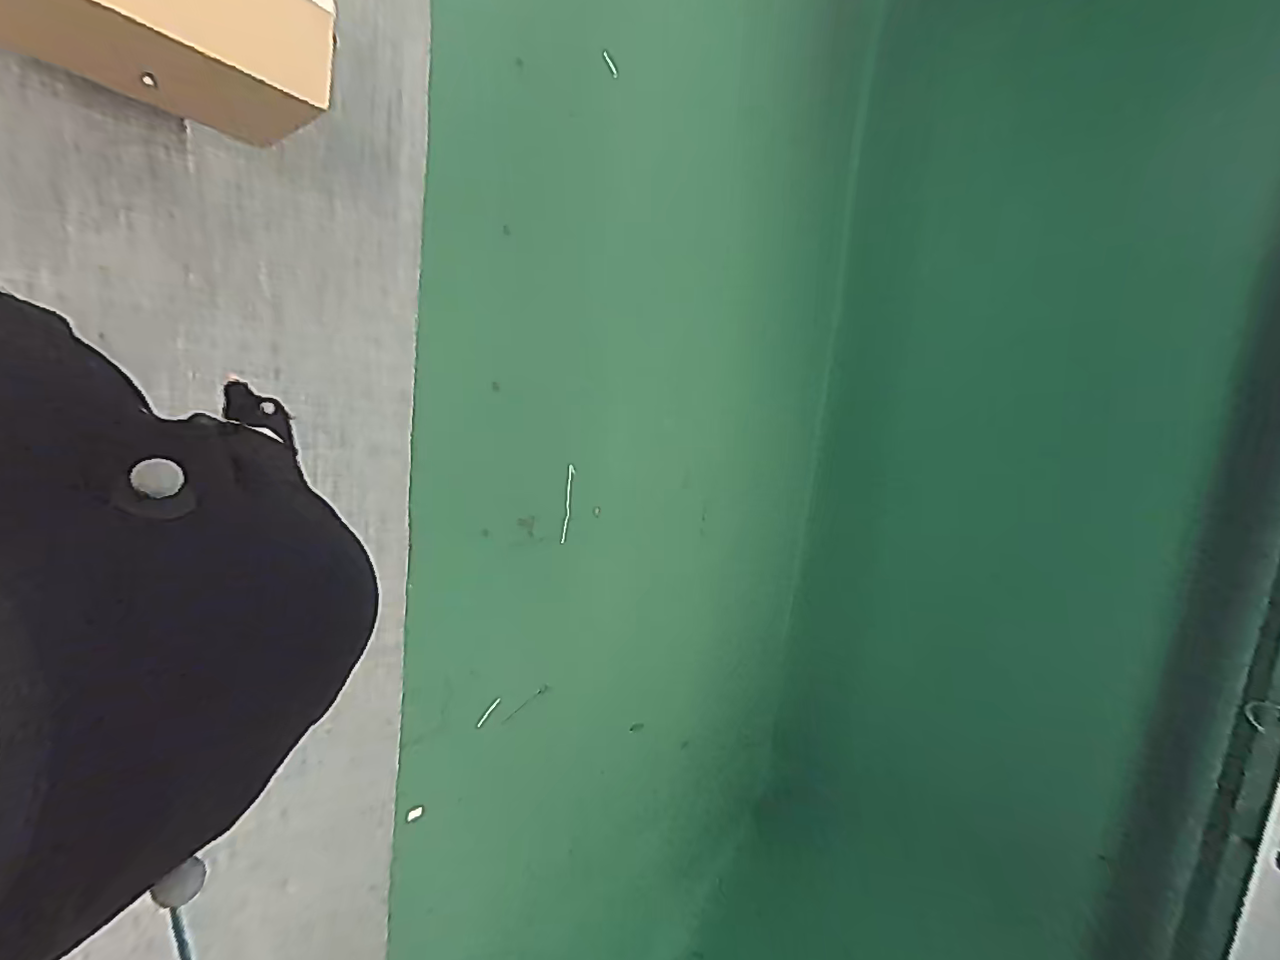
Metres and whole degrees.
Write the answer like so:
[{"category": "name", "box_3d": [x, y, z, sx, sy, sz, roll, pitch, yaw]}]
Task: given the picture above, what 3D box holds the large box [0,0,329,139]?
[{"category": "large box", "box_3d": [-0.751, -0.796, 0.828, 0.408, 0.320, 0.320, -1, 101, -51]}]
